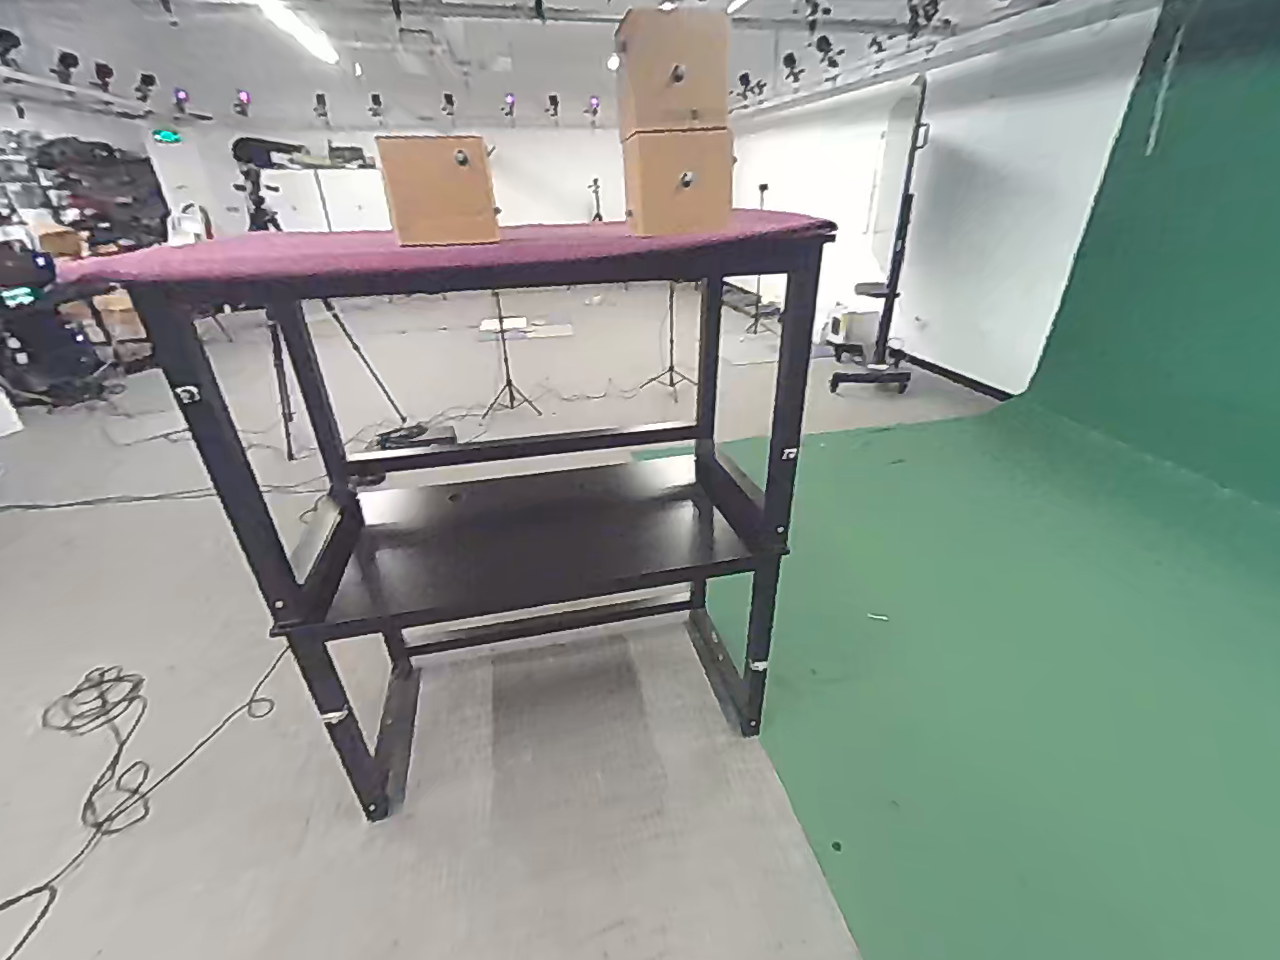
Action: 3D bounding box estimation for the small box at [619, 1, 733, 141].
[{"bbox_3d":[0.060,-0.710,0.955,0.168,0.176,0.179,-7,27,-9],"label":"small box"}]

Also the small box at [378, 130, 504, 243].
[{"bbox_3d":[-0.353,-0.530,0.991,0.179,0.176,0.168,-6,28,-10],"label":"small box"}]
